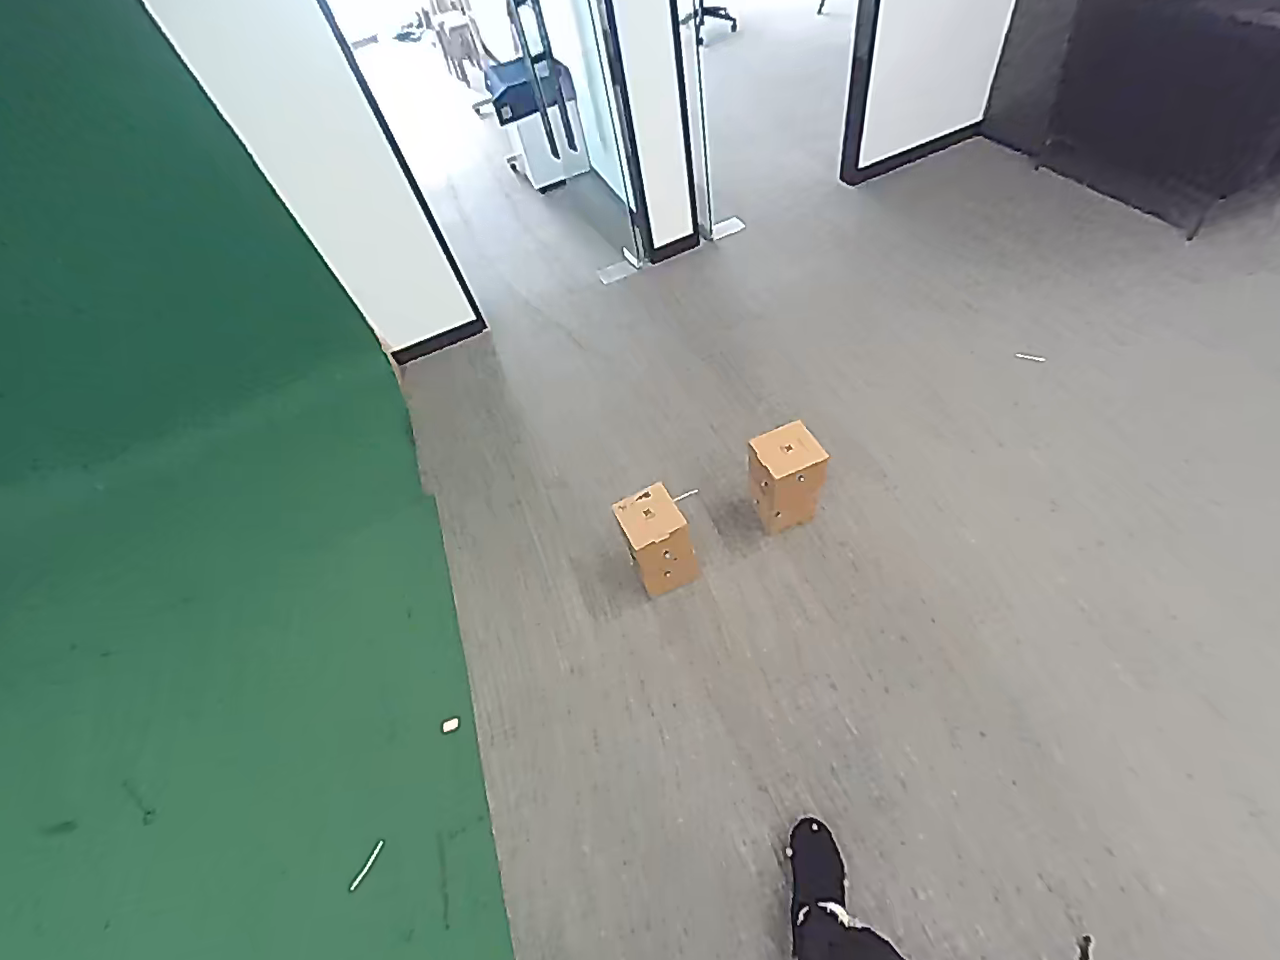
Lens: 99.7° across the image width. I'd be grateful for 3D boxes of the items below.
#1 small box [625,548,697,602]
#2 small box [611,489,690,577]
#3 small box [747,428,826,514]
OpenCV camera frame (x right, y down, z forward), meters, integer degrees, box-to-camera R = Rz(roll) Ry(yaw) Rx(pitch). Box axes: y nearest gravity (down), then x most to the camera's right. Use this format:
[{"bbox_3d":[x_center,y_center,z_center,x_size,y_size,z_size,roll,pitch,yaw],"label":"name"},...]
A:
[{"bbox_3d":[0.068,0.262,1.721,0.179,0.176,0.168,-23,52,-7],"label":"small box"},{"bbox_3d":[0.037,0.165,1.593,0.168,0.176,0.179,-25,53,-8],"label":"small box"},{"bbox_3d":[0.443,-0.023,1.648,0.179,0.176,0.168,-21,52,-6],"label":"small box"}]
